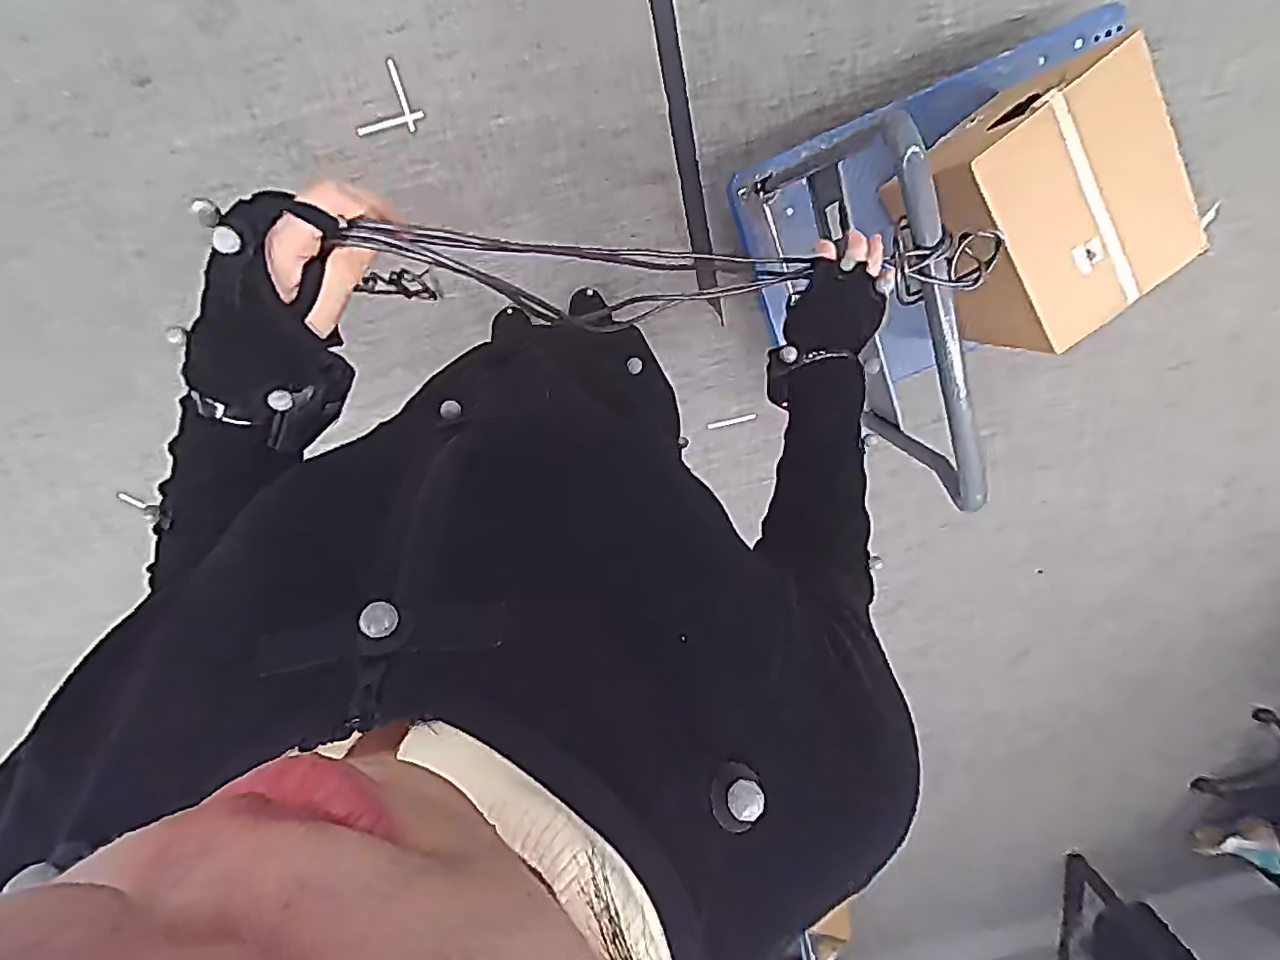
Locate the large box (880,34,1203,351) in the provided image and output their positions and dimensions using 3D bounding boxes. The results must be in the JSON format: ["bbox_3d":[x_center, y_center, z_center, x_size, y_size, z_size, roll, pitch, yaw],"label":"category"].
[{"bbox_3d":[0.764,-0.525,1.071,0.320,0.320,0.408,-37,110,9],"label":"large box"}]
